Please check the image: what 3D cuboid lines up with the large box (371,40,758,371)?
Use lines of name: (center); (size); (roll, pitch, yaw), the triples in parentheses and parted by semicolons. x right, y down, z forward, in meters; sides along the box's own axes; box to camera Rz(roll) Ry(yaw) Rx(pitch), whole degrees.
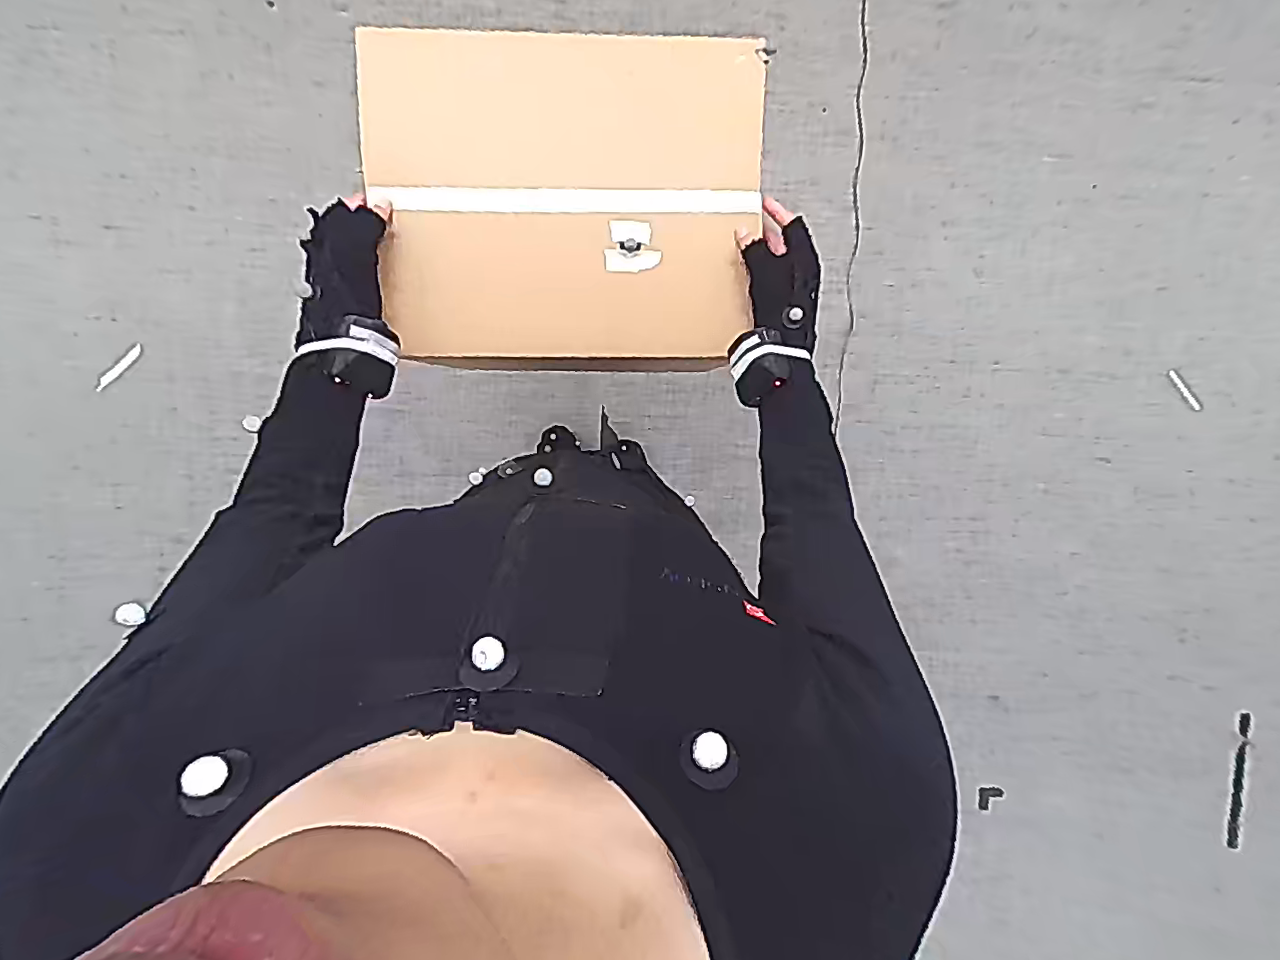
large box: (-0.082, -0.316, 0.721); (0.408, 0.320, 0.320); (-1, 99, -3)
